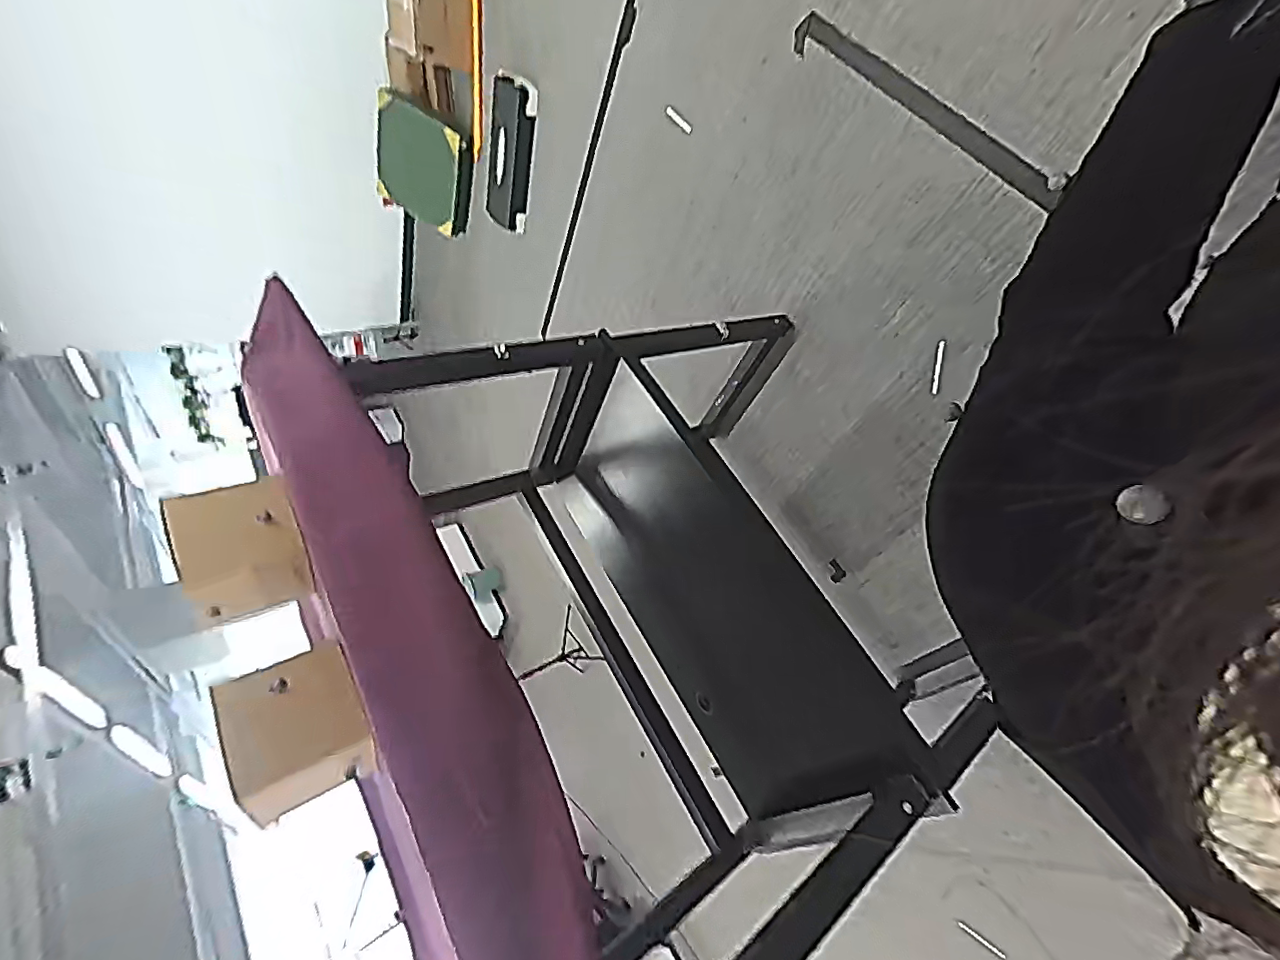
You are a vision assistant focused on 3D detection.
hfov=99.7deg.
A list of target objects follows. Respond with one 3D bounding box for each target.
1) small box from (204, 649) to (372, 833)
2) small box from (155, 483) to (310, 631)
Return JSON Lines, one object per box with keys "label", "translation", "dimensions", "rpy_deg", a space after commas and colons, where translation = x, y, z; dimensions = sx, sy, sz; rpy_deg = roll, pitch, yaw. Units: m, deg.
{"label": "small box", "translation": [-0.517, 0.379, 0.811], "dimensions": [0.179, 0.176, 0.168], "rpy_deg": [52, 141, 26]}
{"label": "small box", "translation": [-0.681, 0.122, 0.919], "dimensions": [0.179, 0.176, 0.168], "rpy_deg": [56, 143, 22]}
